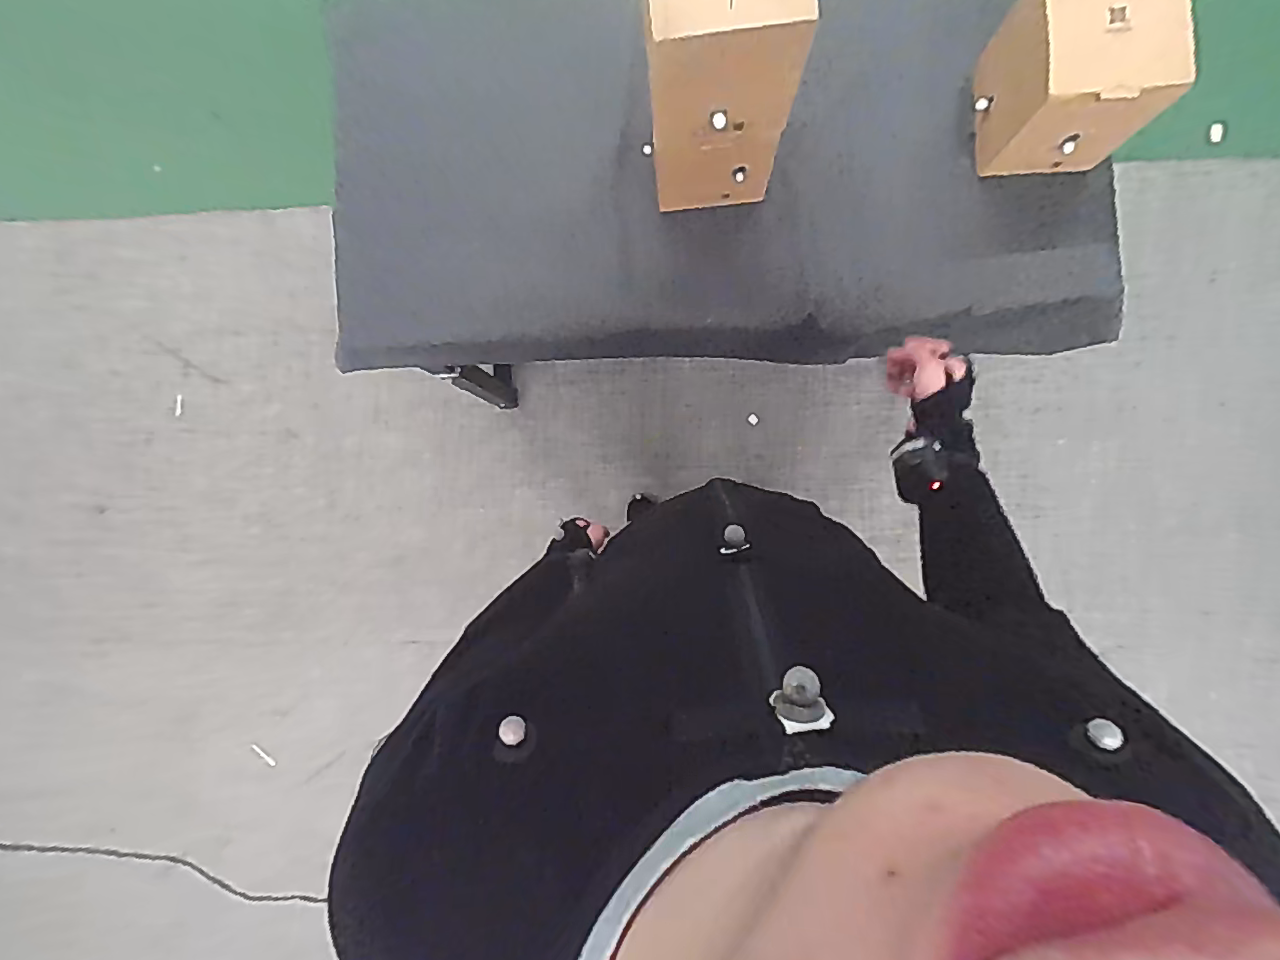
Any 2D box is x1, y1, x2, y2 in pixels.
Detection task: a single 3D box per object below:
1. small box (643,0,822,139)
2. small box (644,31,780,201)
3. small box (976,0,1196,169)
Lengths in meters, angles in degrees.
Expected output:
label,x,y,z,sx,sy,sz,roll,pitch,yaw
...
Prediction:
label,x,y,z,sx,sy,sz,roll,pitch,yaw
small box,0.088,-0.520,0.596,0.168,0.176,0.179,-5,89,3
small box,0.095,-0.517,0.760,0.168,0.176,0.179,-4,87,2
small box,0.580,-0.545,0.726,0.168,0.176,0.179,-1,89,4
